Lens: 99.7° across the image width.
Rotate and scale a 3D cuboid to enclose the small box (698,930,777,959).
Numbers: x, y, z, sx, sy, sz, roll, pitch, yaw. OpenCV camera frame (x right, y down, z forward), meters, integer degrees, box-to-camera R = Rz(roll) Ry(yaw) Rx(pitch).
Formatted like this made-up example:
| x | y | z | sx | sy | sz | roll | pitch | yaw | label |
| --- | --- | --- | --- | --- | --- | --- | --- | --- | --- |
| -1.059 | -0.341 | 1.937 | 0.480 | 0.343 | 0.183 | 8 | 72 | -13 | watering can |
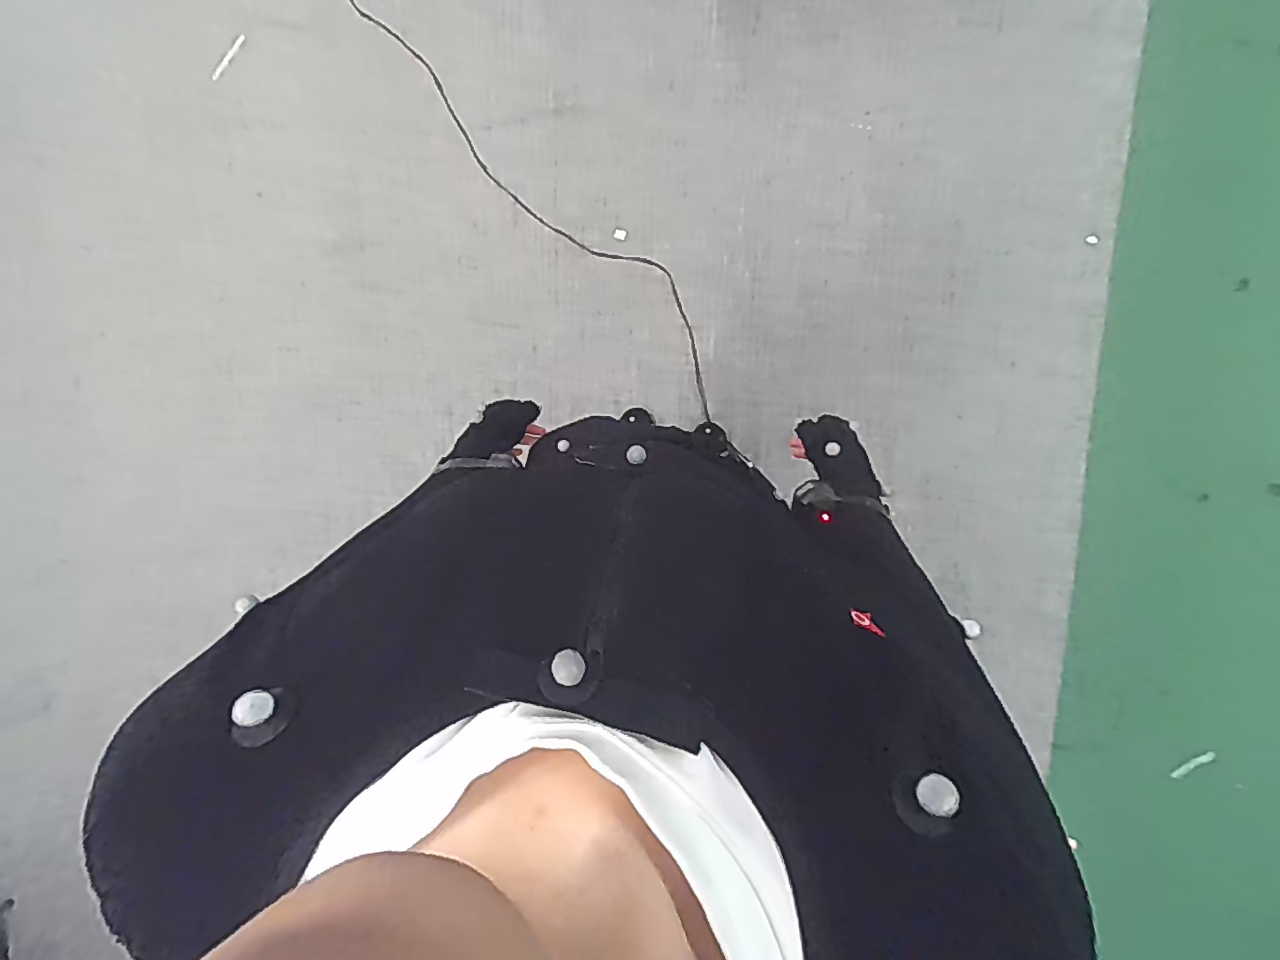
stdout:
| x | y | z | sx | sy | sz | roll | pitch | yaw | label |
| --- | --- | --- | --- | --- | --- | --- | --- | --- | --- |
| 0.196 | 1.086 | 1.111 | 0.168 | 0.176 | 0.179 | 8 | 102 | 8 | small box |
